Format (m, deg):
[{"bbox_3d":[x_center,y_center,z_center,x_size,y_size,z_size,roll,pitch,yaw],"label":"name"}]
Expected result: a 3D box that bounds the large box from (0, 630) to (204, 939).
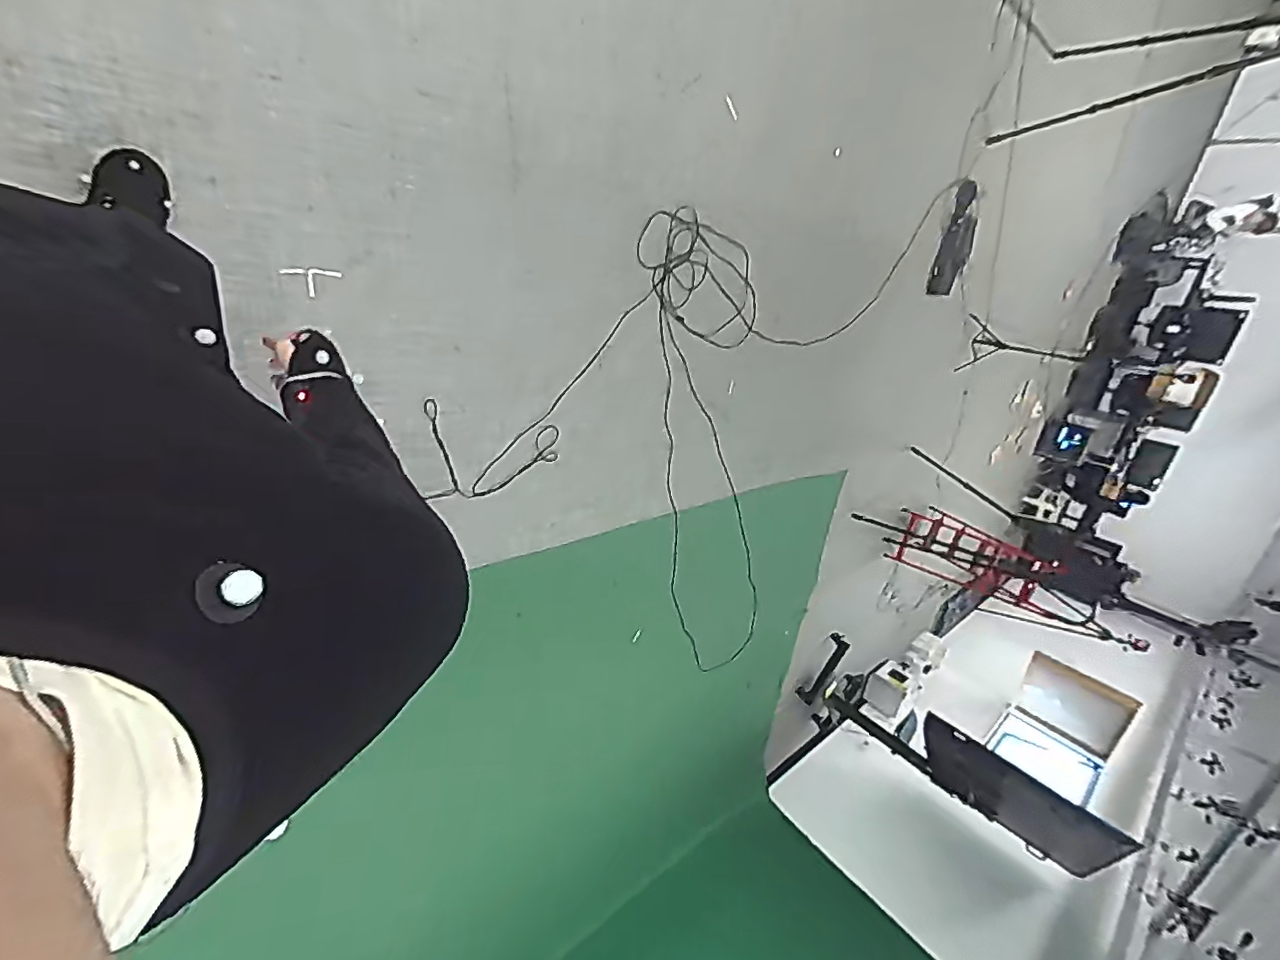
[{"bbox_3d":[-1.164,0.599,1.126,0.320,0.320,0.408,-13,120,-38],"label":"large box"}]
